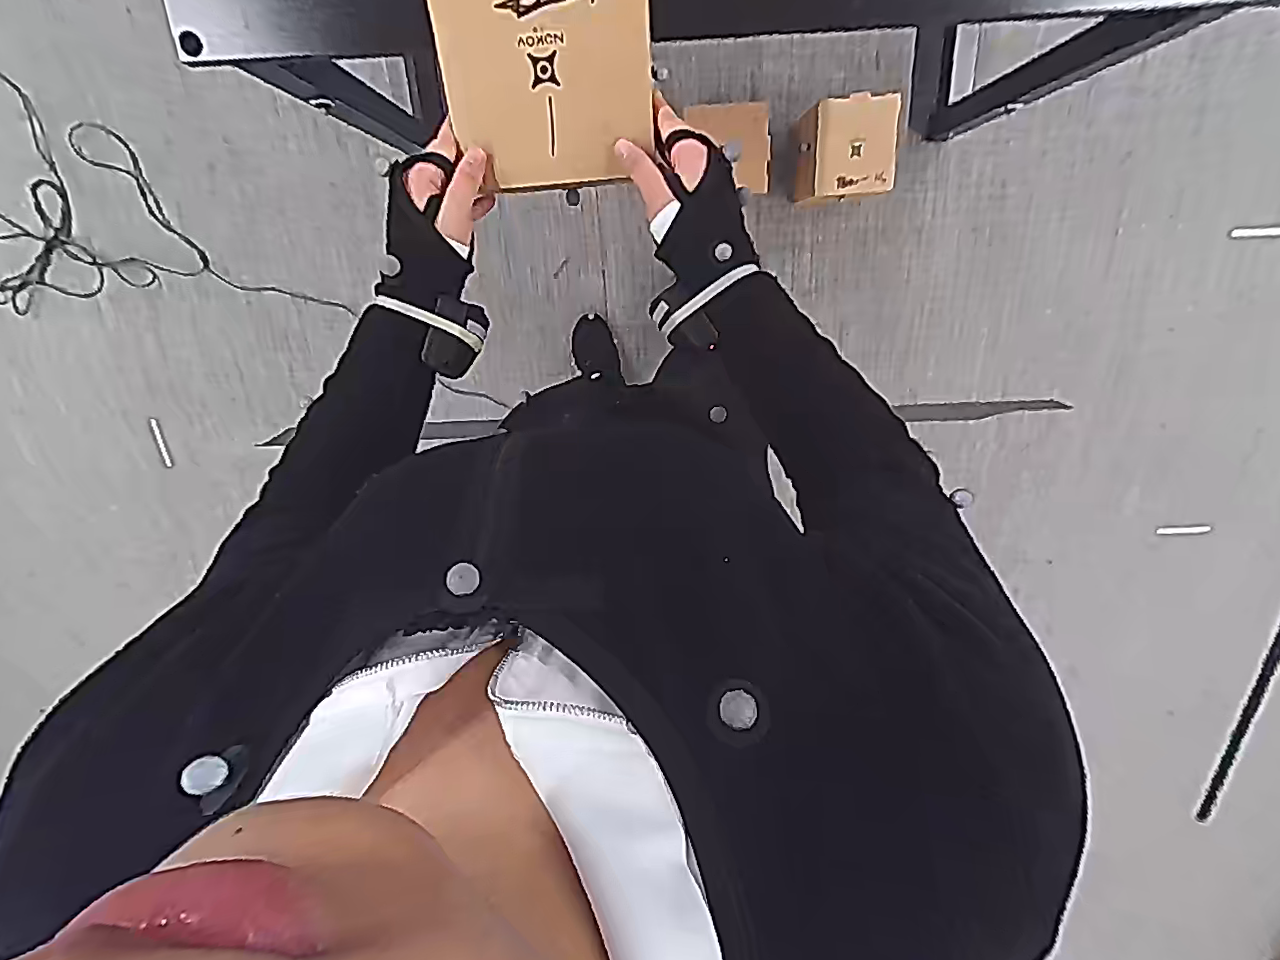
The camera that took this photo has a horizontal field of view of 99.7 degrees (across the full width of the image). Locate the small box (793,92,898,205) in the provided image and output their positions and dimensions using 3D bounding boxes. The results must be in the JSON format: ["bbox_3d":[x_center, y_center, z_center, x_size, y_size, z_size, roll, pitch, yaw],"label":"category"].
[{"bbox_3d":[0.437,-0.711,1.176,0.168,0.176,0.179,-3,110,2],"label":"small box"}]

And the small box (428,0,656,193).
[{"bbox_3d":[-0.073,-0.364,0.486,0.168,0.176,0.179,-3,118,4],"label":"small box"}]

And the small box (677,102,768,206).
[{"bbox_3d":[0.174,-0.704,1.183,0.179,0.176,0.168,-3,110,2],"label":"small box"}]
